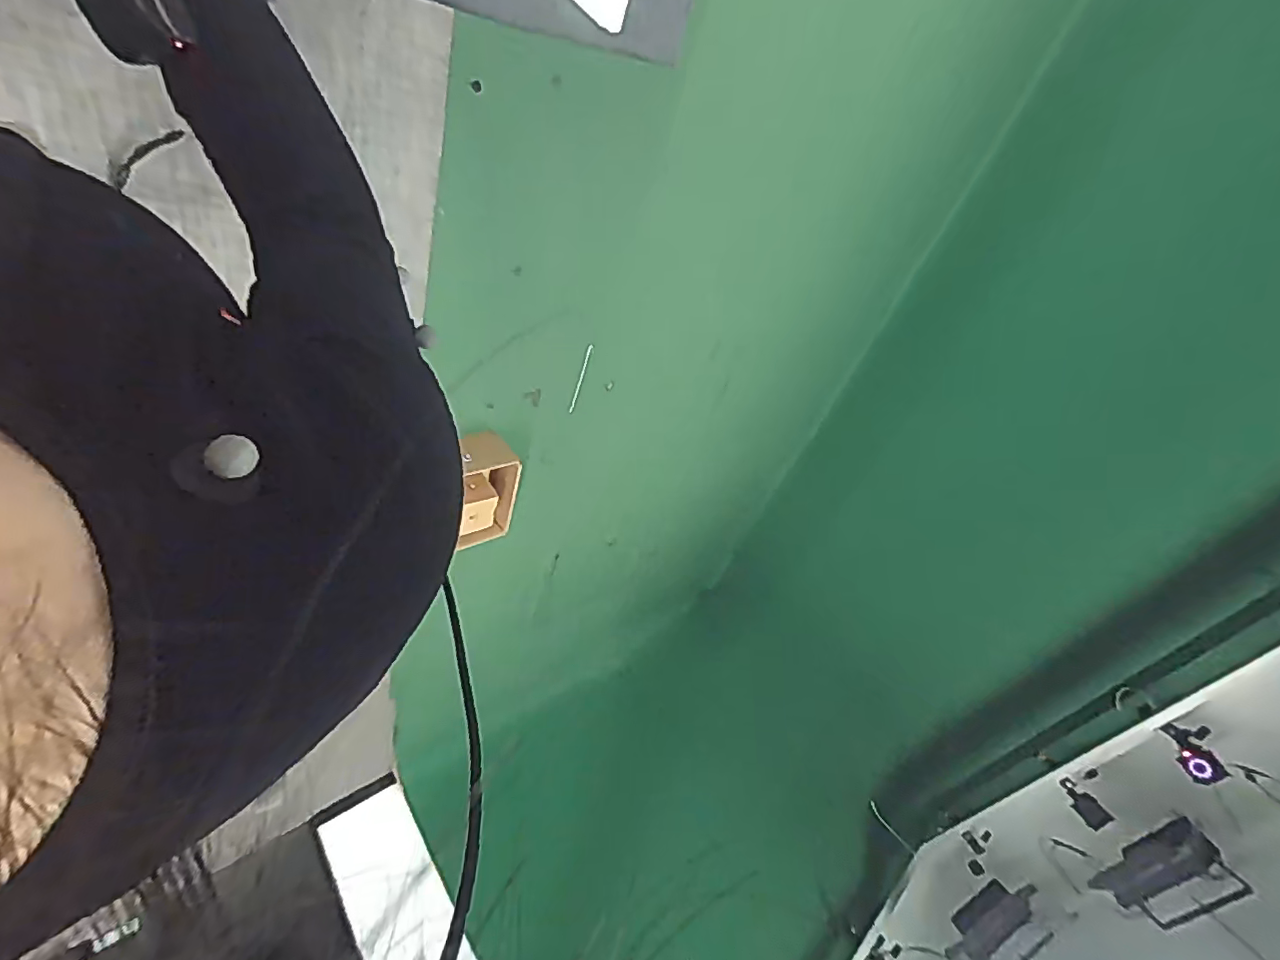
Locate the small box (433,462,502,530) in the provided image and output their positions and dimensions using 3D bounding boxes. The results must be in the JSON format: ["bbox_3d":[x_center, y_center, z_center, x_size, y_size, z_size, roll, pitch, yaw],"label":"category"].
[{"bbox_3d":[-0.638,0.053,1.994,0.179,0.176,0.168,-16,143,-40],"label":"small box"}]
